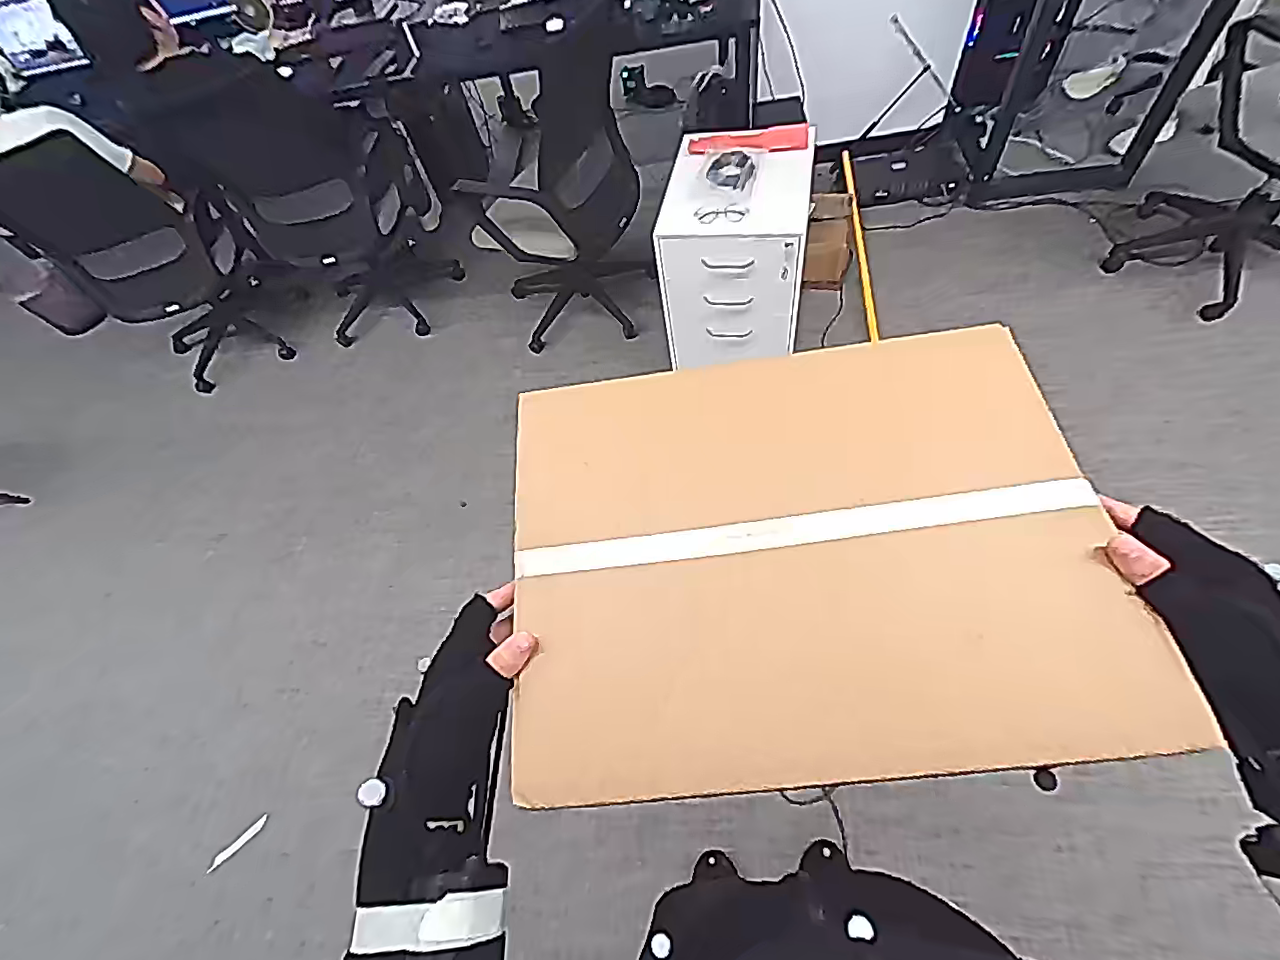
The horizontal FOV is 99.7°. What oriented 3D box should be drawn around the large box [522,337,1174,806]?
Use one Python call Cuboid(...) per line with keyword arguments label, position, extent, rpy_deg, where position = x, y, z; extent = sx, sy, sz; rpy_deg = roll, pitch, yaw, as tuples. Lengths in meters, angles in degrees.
Cuboid(label="large box", position=(0.126, 0.106, 0.528), extent=(0.408, 0.320, 0.320), rpy_deg=(-7, 62, 4))
